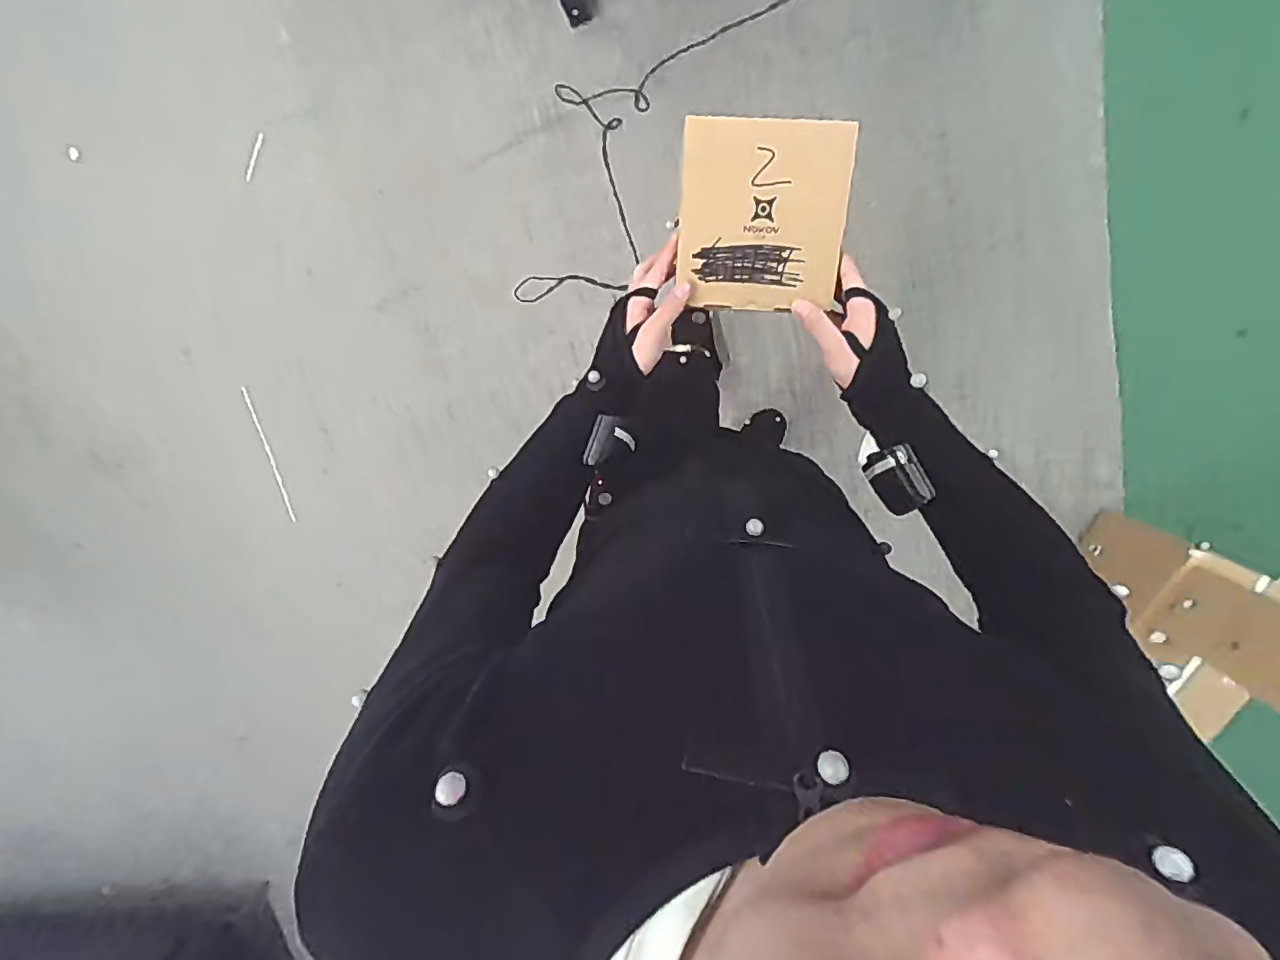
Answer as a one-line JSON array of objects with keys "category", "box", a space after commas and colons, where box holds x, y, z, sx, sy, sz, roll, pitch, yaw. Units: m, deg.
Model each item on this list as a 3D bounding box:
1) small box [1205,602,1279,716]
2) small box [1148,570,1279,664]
[{"category": "small box", "box": [1.210, 0.346, 0.971, 0.179, 0.176, 0.168, 24, 106, 3]}, {"category": "small box", "box": [1.245, 0.311, 1.127, 0.179, 0.176, 0.168, 24, 106, 3]}]
